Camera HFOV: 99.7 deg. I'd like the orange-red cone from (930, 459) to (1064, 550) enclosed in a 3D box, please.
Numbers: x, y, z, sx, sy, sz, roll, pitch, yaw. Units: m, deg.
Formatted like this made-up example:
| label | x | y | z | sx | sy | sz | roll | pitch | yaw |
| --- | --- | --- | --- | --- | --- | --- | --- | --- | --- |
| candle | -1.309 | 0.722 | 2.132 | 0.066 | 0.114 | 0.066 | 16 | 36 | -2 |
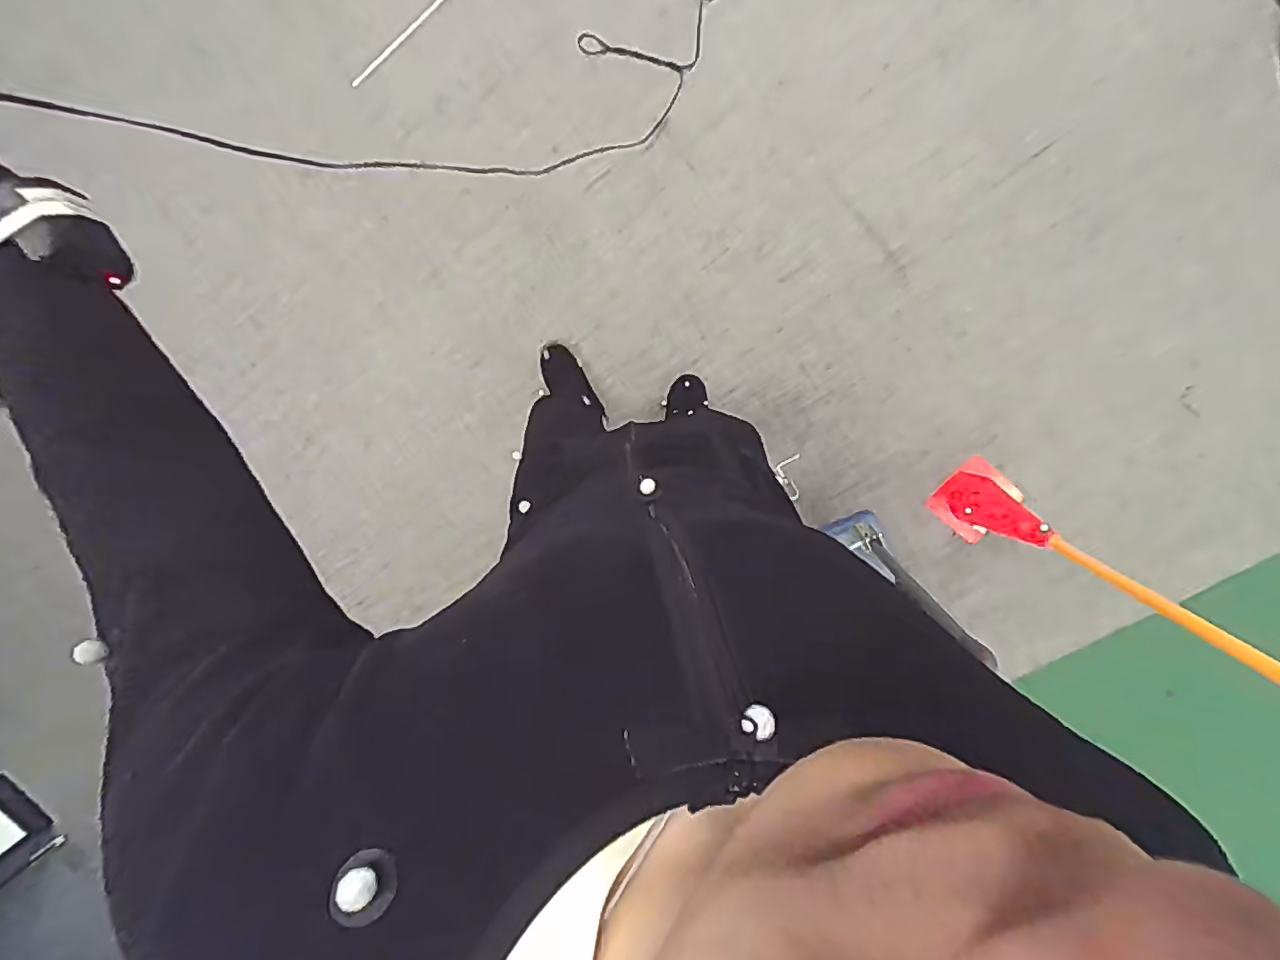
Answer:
| label | x | y | z | sx | sy | sz | roll | pitch | yaw |
| --- | --- | --- | --- | --- | --- | --- | --- | --- | --- |
| orange-red cone | 0.957 | 0.100 | 1.396 | 0.198 | 0.360 | 0.199 | 41 | 102 | -6 |
